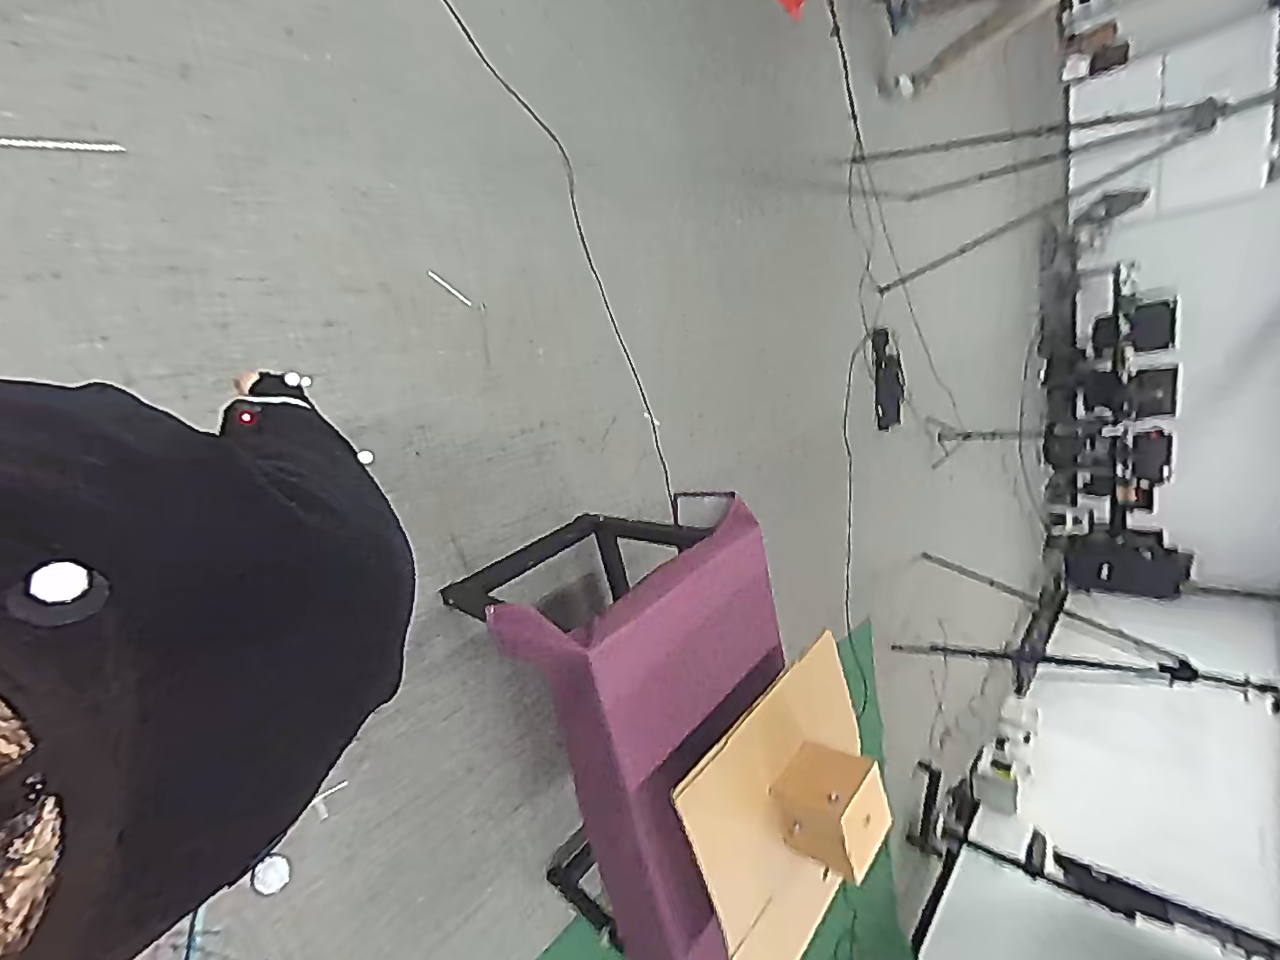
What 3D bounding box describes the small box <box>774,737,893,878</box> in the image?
[{"bbox_3d":[0.425,0.705,1.191,0.179,0.176,0.168,-27,104,-37],"label":"small box"}]
